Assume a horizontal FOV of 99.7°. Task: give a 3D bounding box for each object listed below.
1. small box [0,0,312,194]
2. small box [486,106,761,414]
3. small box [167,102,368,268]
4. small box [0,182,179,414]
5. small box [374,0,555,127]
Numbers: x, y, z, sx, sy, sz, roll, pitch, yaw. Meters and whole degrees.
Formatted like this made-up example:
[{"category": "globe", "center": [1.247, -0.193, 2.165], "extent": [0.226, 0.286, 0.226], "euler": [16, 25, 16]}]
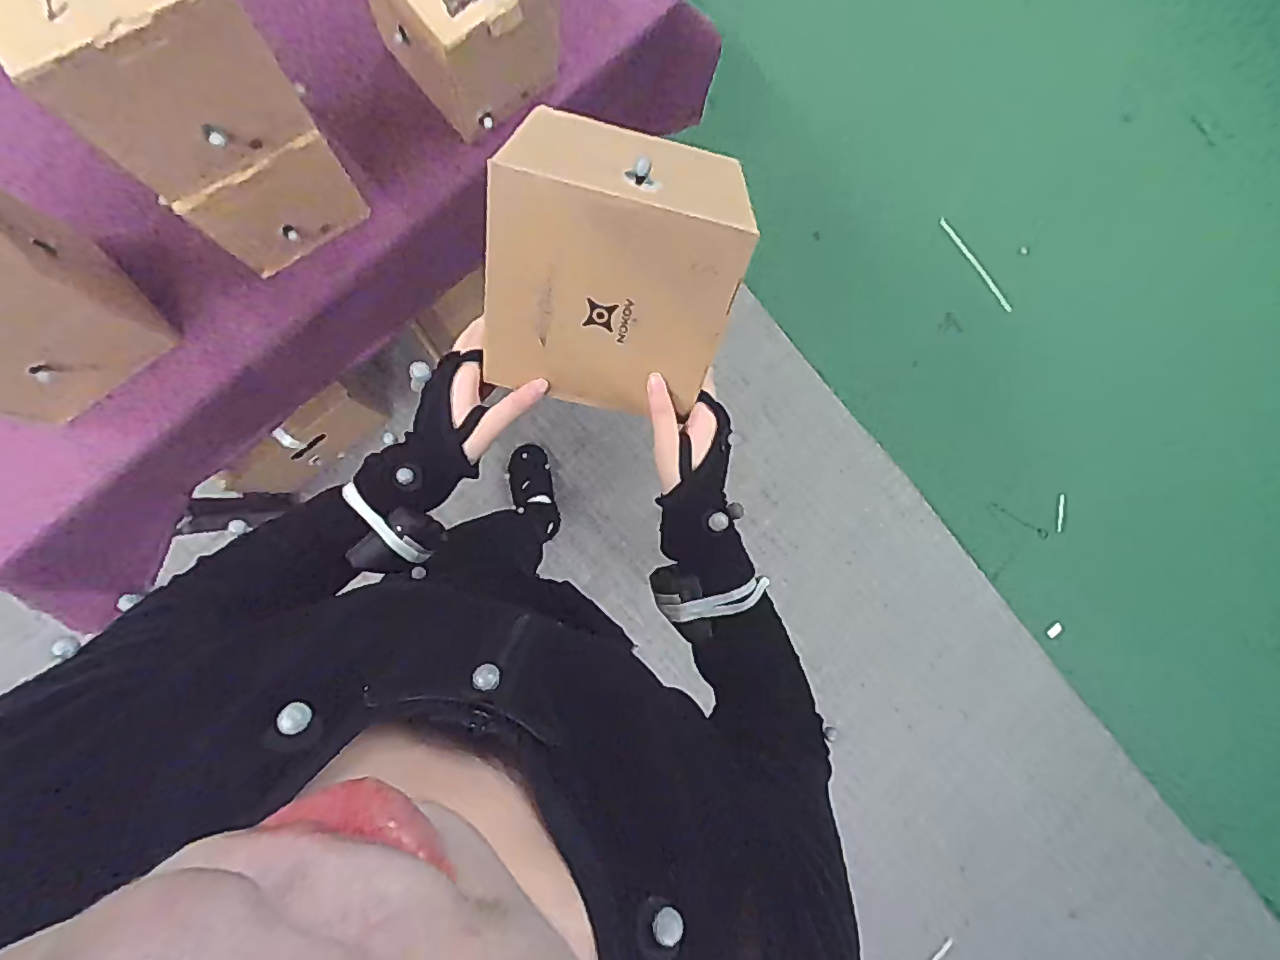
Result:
[{"category": "small box", "center": [-0.440, -0.400, 0.474], "extent": [0.168, 0.176, 0.179], "euler": [-35, 95, -8]}, {"category": "small box", "center": [-0.019, -0.184, 0.451], "extent": [0.179, 0.168, 0.176], "euler": [12, 44, -8]}, {"category": "small box", "center": [-0.463, -0.390, 0.637], "extent": [0.168, 0.176, 0.179], "euler": [-36, 95, -8]}, {"category": "small box", "center": [-0.681, -0.192, 0.593], "extent": [0.179, 0.176, 0.168], "euler": [-41, 96, -8]}, {"category": "small box", "center": [-0.218, -0.592, 0.680], "extent": [0.168, 0.176, 0.179], "euler": [-41, 94, -8]}]
